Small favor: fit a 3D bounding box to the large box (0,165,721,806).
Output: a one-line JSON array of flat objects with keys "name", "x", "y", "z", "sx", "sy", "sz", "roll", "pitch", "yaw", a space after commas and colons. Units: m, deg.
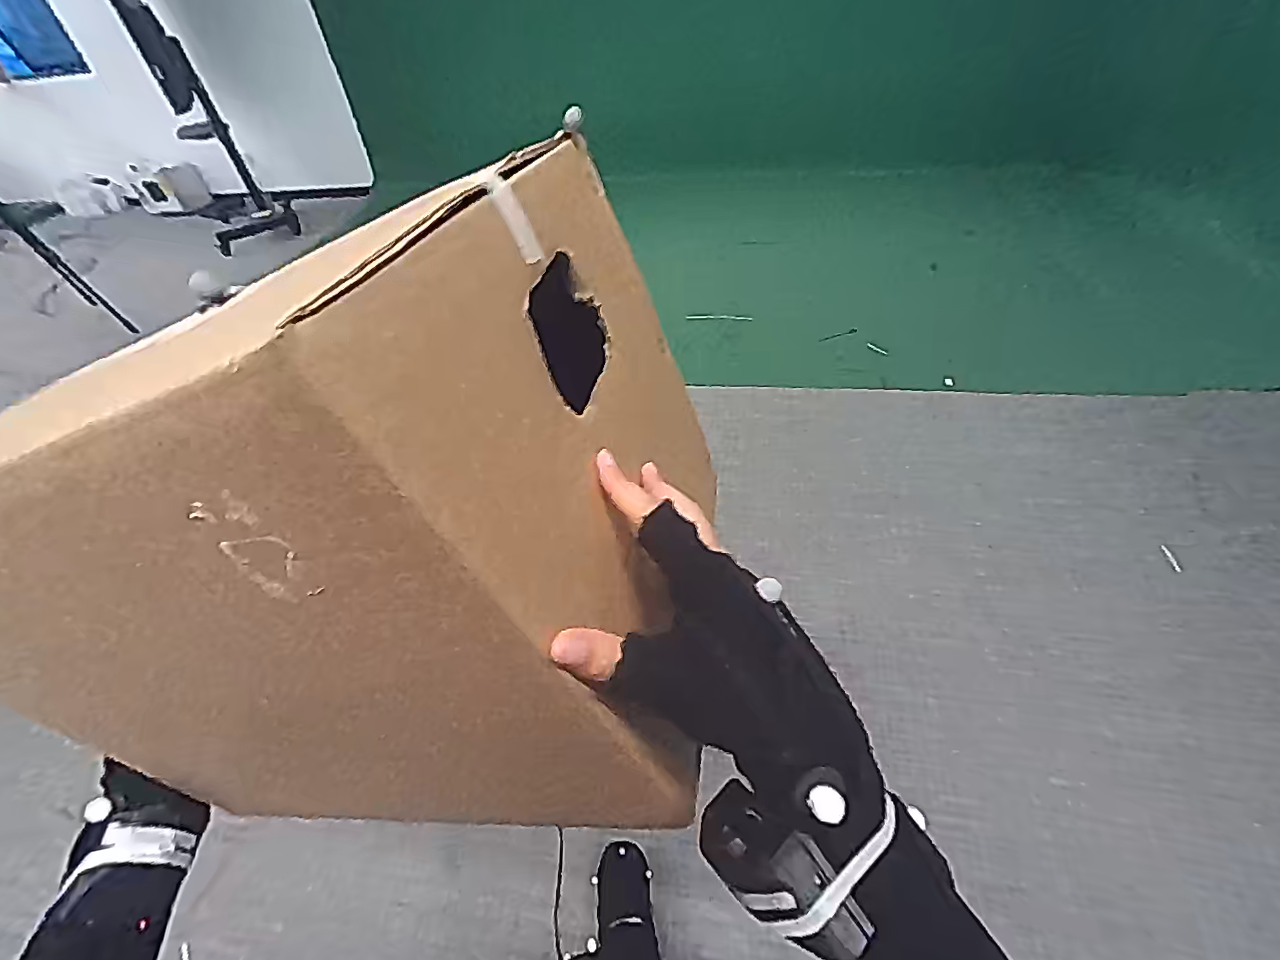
[{"name": "large box", "x": -0.178, "y": 0.023, "z": 0.417, "sx": 0.408, "sy": 0.320, "sz": 0.320, "roll": -12, "pitch": 36, "yaw": 20}]
